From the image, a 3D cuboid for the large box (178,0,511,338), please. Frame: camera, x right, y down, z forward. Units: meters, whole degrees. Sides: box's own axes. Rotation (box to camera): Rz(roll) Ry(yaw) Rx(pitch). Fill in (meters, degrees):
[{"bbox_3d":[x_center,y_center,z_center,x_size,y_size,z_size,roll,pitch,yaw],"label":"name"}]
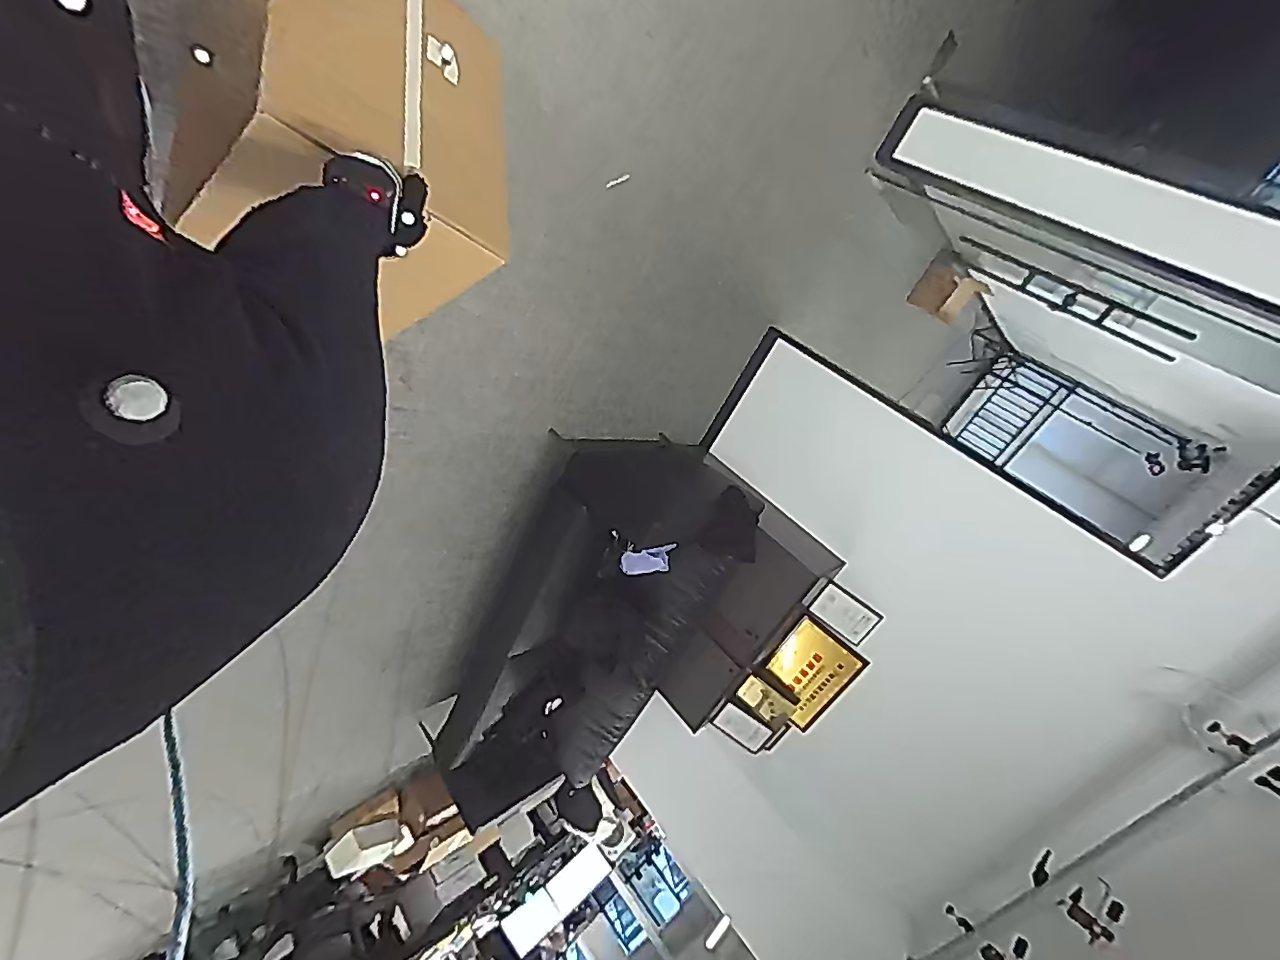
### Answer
[{"bbox_3d":[-0.417,-0.485,0.785,0.320,0.408,0.320,-17,162,32],"label":"large box"}]
